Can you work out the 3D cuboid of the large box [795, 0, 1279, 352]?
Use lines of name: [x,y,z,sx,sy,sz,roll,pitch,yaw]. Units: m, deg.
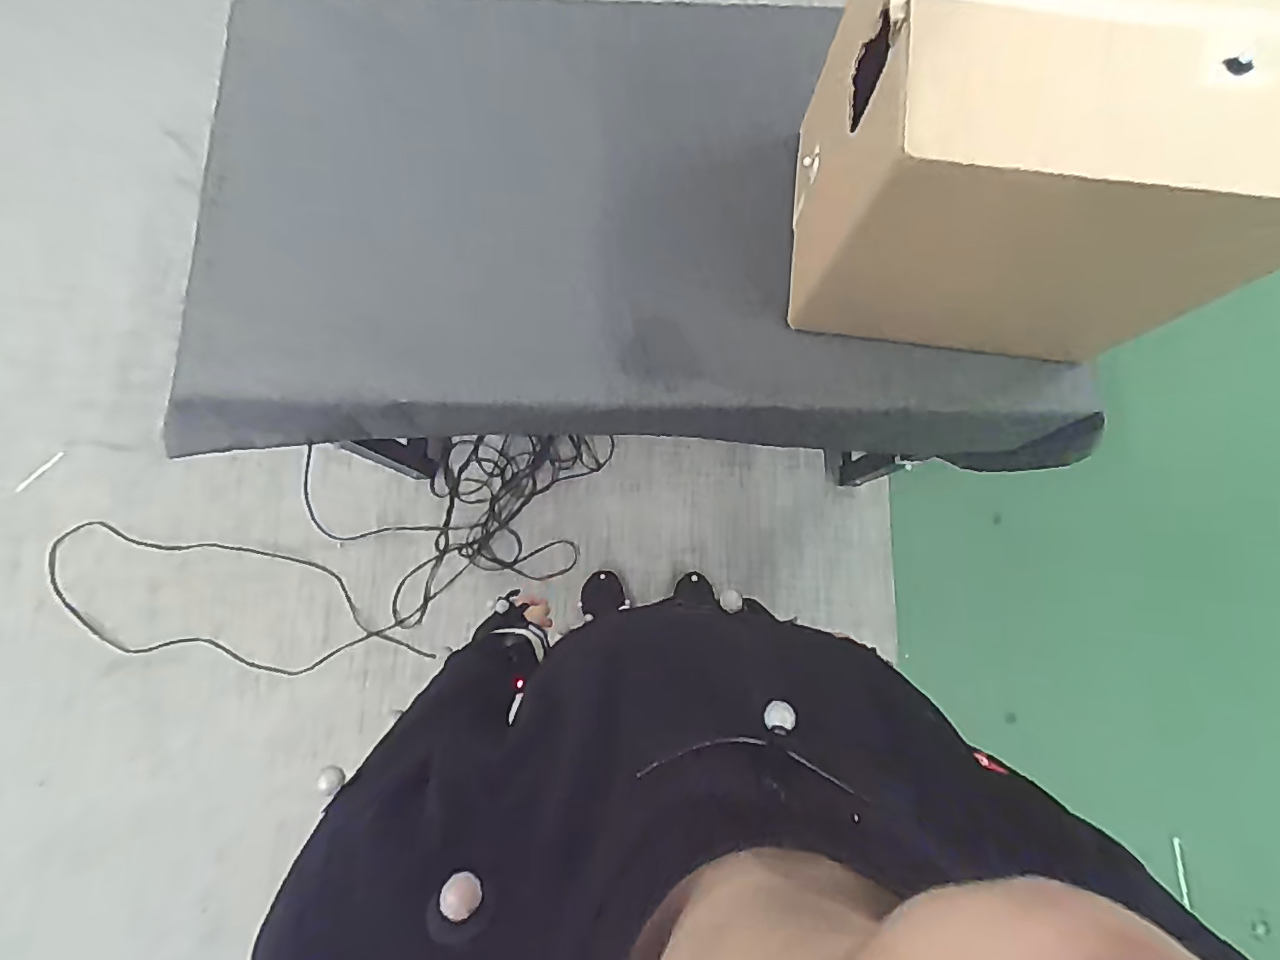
large box: [0.416,-0.360,0.600,0.408,0.320,0.320,6,81,-1]
